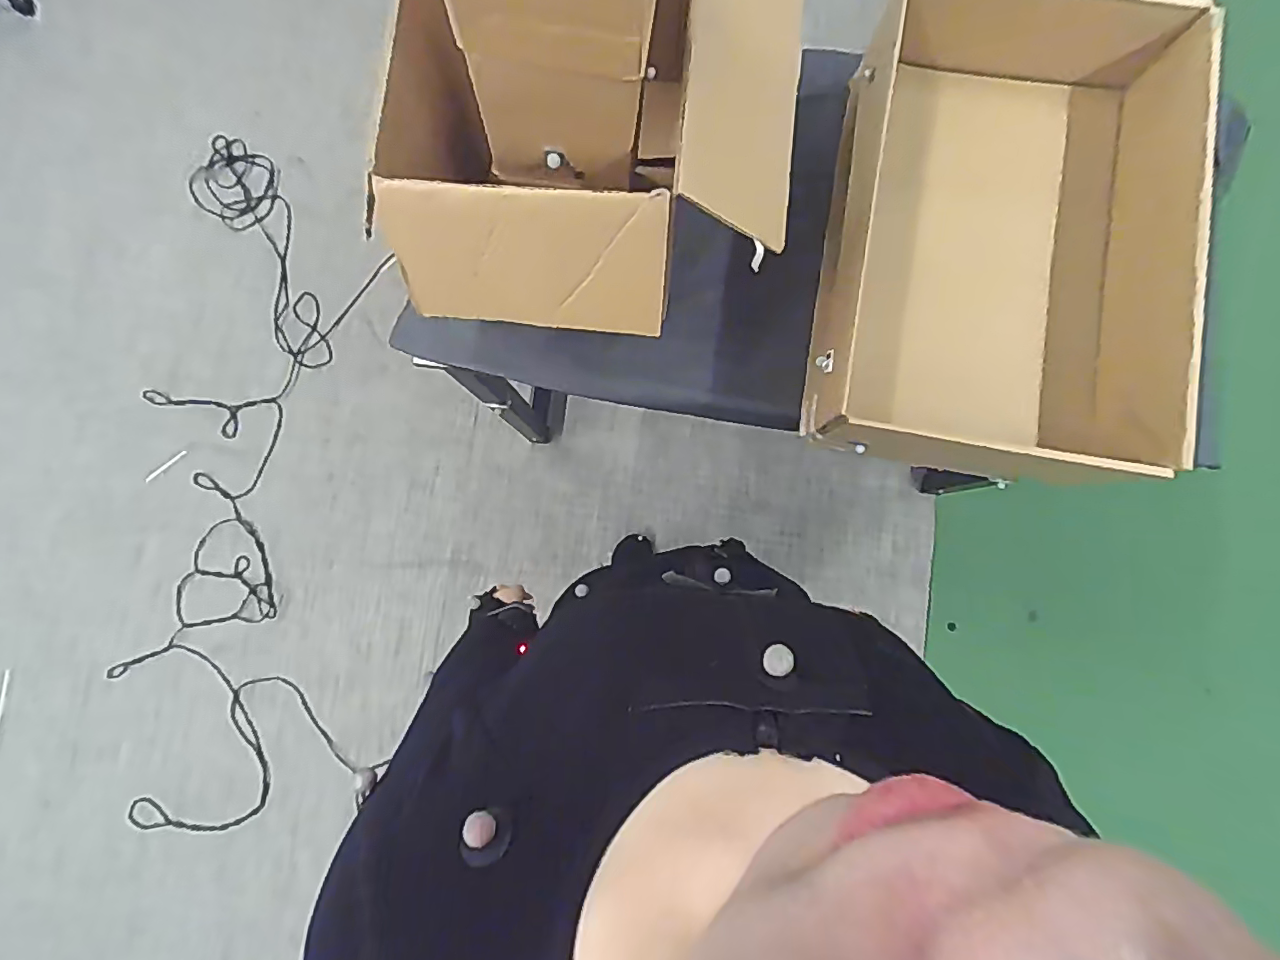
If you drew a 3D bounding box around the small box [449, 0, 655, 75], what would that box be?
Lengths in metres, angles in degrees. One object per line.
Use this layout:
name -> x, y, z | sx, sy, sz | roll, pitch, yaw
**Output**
small box -> -0.068, -0.475, 0.435 | 0.179, 0.176, 0.168 | 9, 82, -3
